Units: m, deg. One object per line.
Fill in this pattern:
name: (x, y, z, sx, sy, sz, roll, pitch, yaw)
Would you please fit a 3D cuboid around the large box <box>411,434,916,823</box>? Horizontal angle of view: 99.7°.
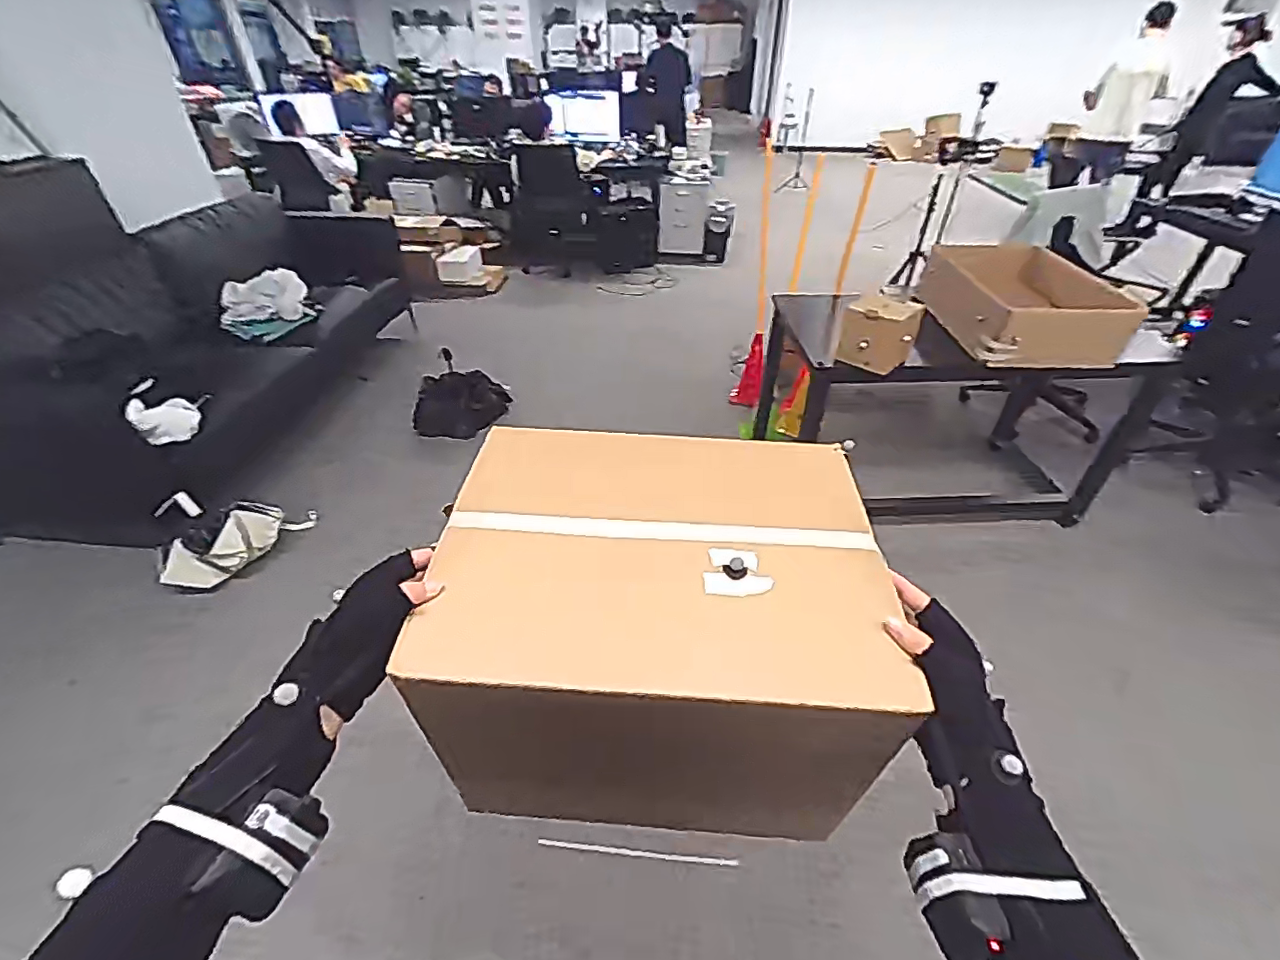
large box: (0.017, 0.167, 0.625, 0.408, 0.320, 0.320, 4, 42, 1)
